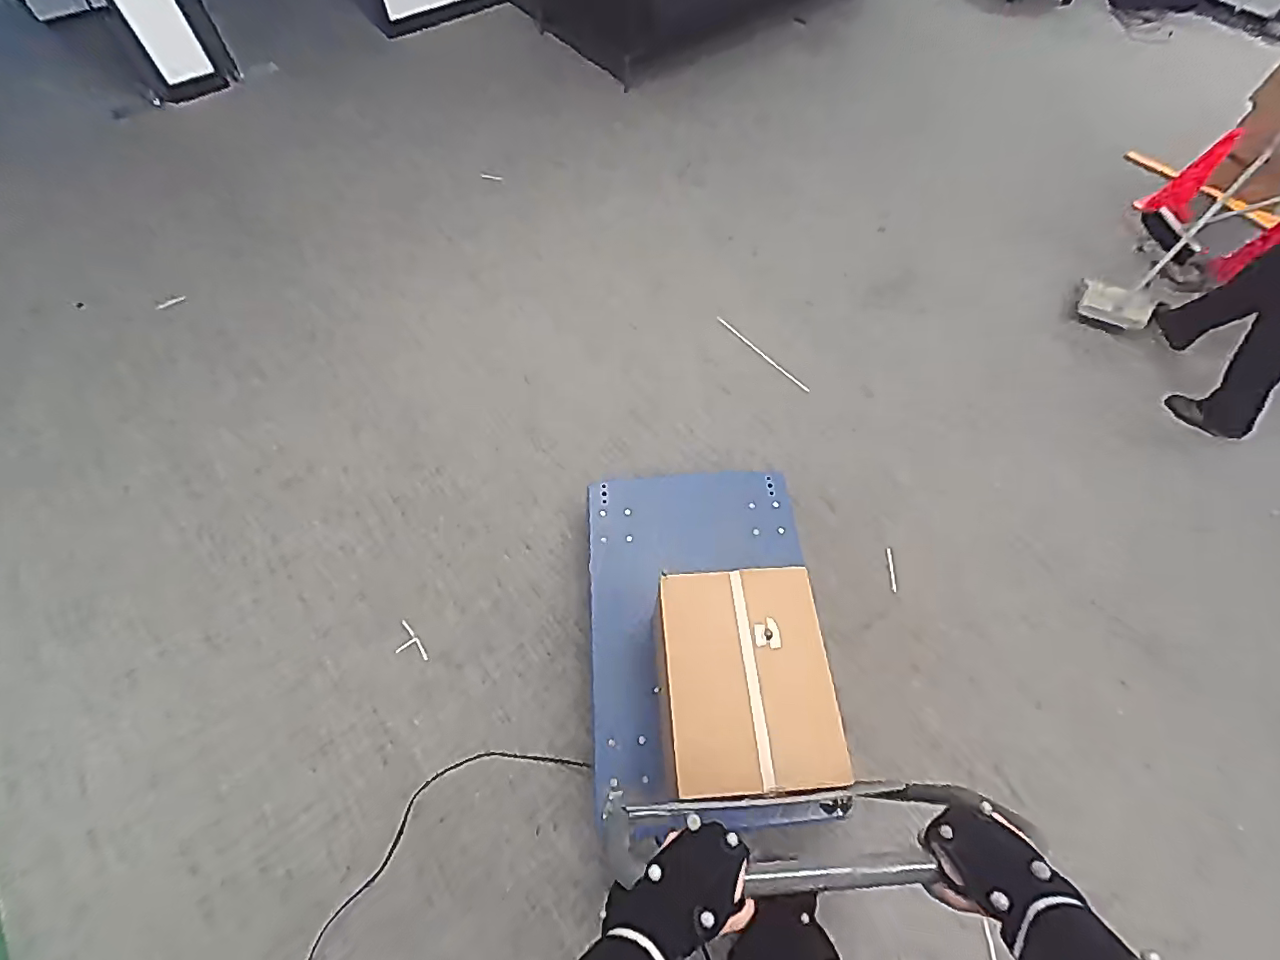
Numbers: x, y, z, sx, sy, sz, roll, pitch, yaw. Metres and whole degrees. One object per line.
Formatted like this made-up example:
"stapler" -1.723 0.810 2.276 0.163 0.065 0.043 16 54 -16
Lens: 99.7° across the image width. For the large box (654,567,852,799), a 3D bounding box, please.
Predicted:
"large box" 0.203 0.440 1.163 0.320 0.320 0.408 -3 60 -4
